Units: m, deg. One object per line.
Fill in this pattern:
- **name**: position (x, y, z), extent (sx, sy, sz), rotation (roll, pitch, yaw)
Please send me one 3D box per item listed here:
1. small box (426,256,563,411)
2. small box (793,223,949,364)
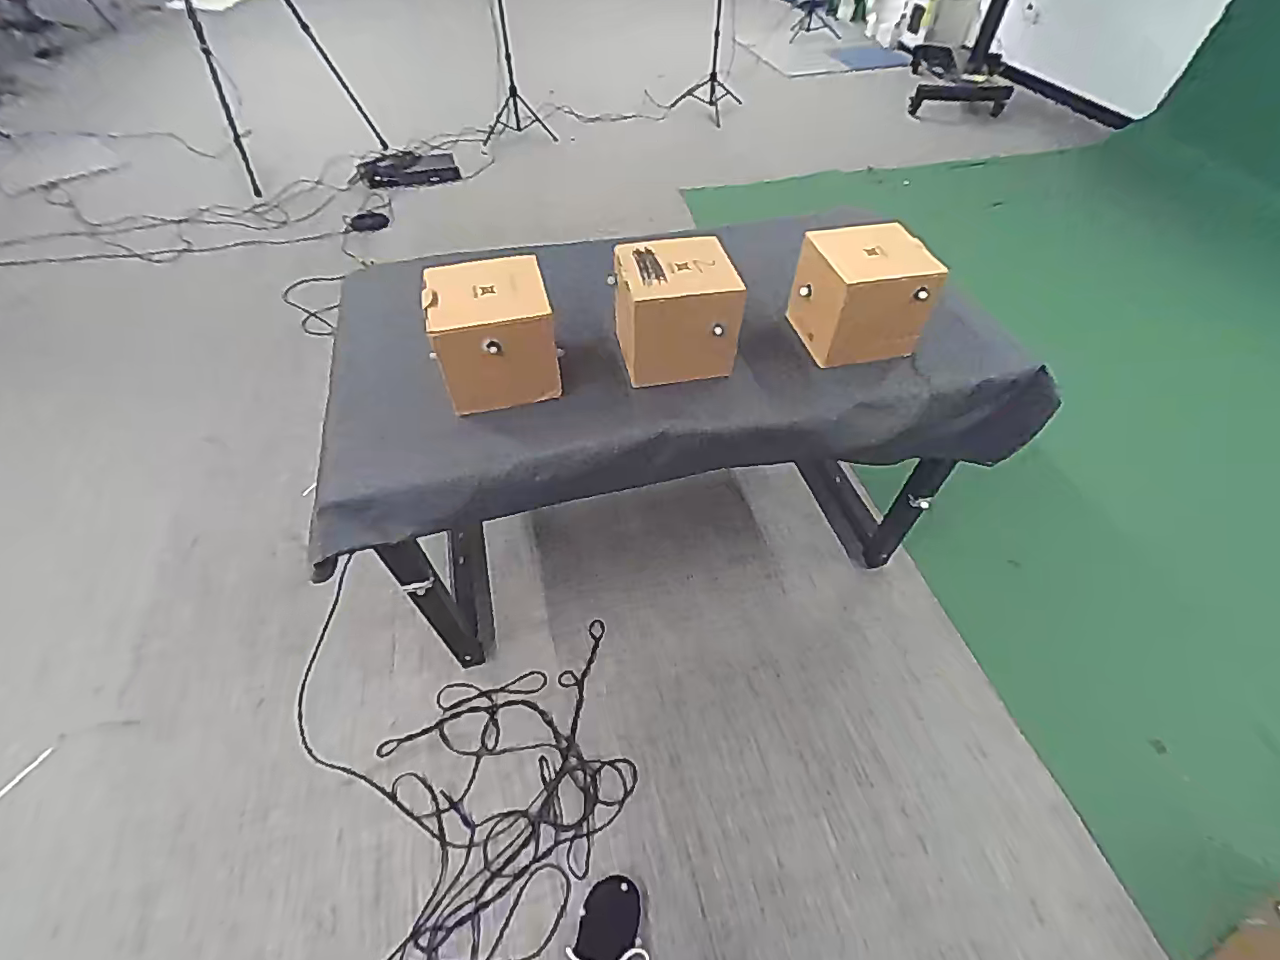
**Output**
- **small box**: position (-0.228, -0.230, 0.865), extent (0.179, 0.176, 0.168), rotation (-12, 54, -11)
- **small box**: position (0.381, -0.318, 0.936), extent (0.179, 0.176, 0.168), rotation (-9, 52, -8)
